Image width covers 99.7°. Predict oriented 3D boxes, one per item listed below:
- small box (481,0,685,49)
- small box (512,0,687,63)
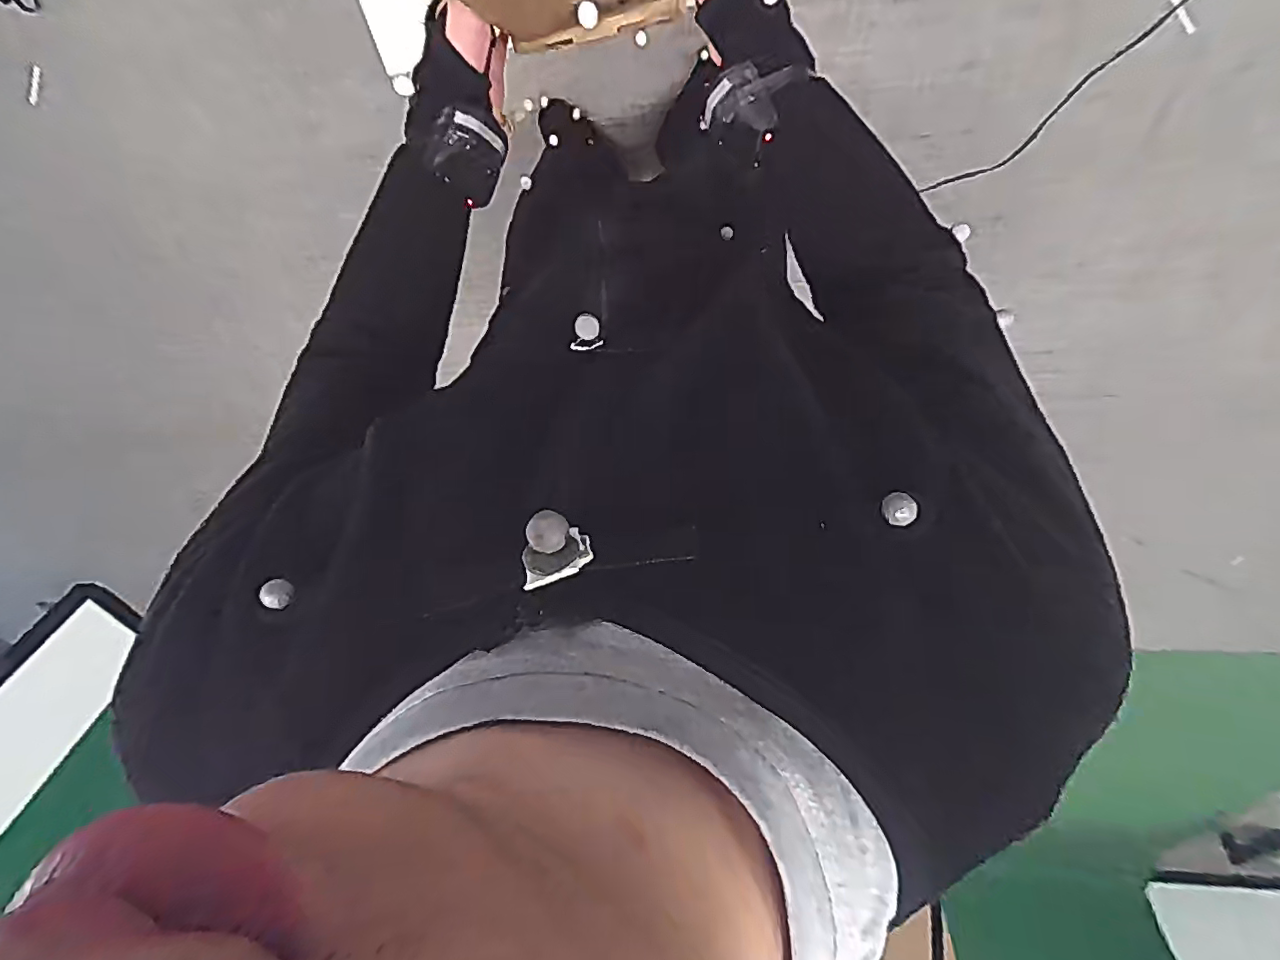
[{"bbox_3d":[-0.058,-0.444,0.374,0.168,0.176,0.179,-7,116,14],"label":"small box"},{"bbox_3d":[-0.046,-0.538,0.530,0.168,0.176,0.179,-5,128,11],"label":"small box"}]
